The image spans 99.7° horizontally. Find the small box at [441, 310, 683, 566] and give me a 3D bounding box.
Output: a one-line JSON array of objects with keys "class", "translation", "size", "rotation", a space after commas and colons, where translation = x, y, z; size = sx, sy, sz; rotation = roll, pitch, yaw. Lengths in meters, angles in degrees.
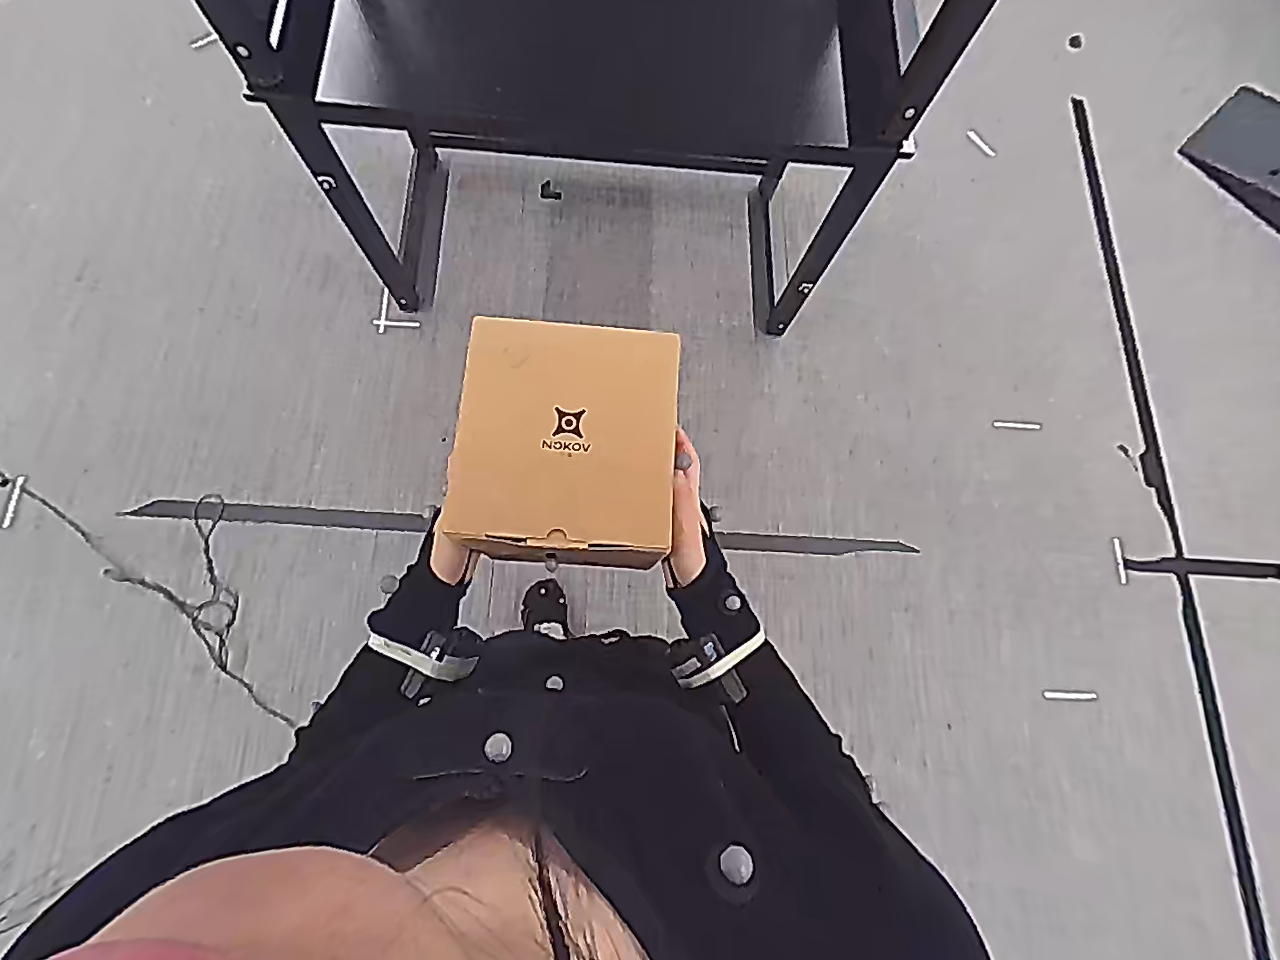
[{"class": "small box", "translation": [-0.059, -0.023, 0.478], "size": [0.168, 0.176, 0.179], "rotation": [4, 77, -3]}]
